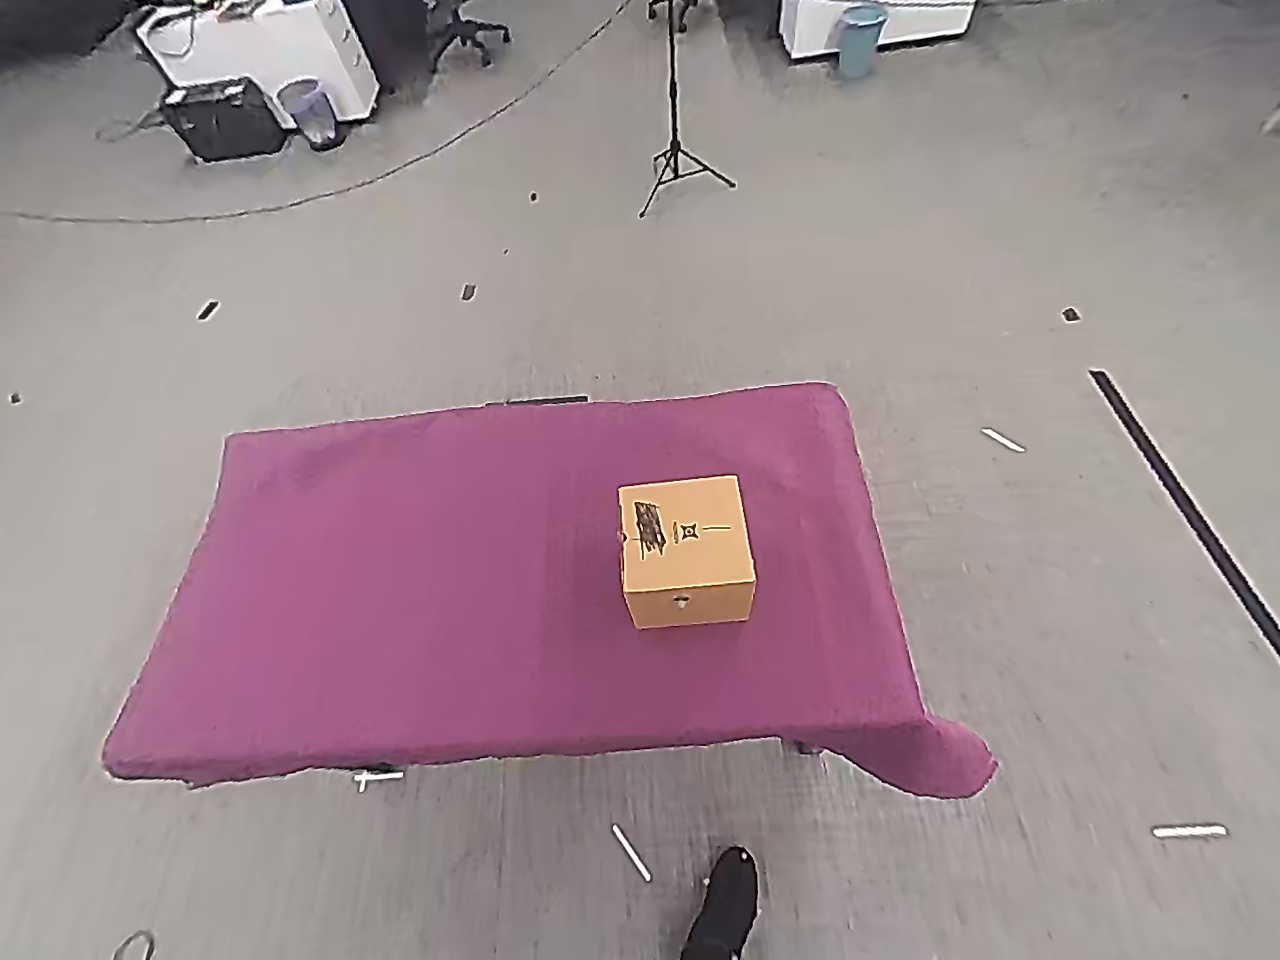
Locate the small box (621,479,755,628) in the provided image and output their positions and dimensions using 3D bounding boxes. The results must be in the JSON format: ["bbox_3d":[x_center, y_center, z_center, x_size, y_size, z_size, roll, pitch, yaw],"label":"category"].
[{"bbox_3d":[0.070,0.117,0.815,0.179,0.176,0.168,-5,58,3],"label":"small box"}]
